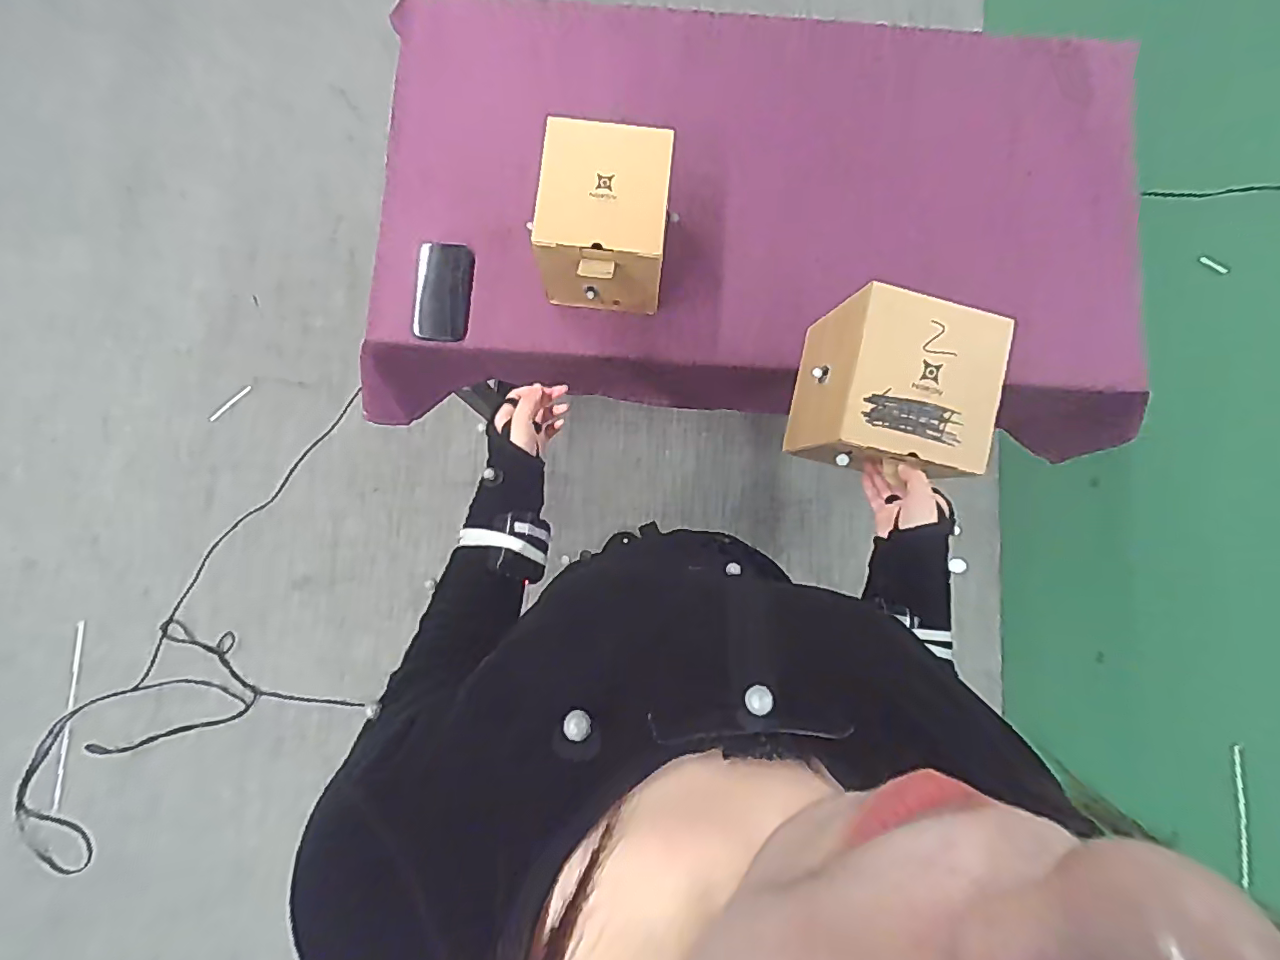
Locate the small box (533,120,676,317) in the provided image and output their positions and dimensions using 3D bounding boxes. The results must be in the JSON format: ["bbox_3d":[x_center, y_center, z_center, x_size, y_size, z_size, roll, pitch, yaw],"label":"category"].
[{"bbox_3d":[-0.048,-0.355,0.760,0.168,0.176,0.179,6,83,-2],"label":"small box"}]
